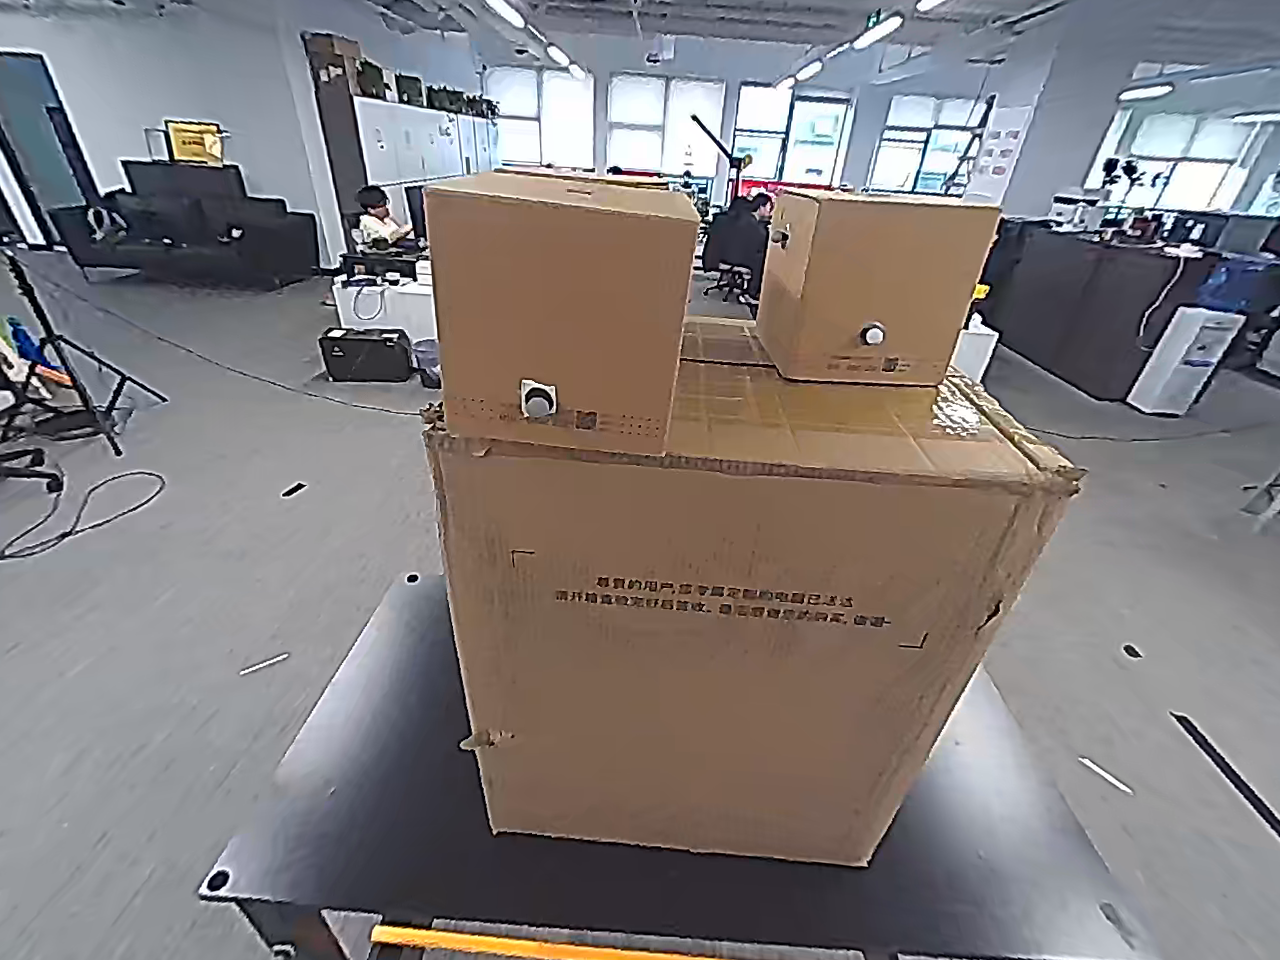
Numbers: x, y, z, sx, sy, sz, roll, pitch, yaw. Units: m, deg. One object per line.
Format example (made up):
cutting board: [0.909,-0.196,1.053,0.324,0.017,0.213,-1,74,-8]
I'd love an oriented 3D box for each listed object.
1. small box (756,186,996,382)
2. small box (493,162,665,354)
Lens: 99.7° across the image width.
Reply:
small box: [0.229,-0.216,0.584,0.168,0.176,0.179,2,30,-1]
small box: [-0.062,-0.253,0.614,0.168,0.176,0.179,3,29,-1]
